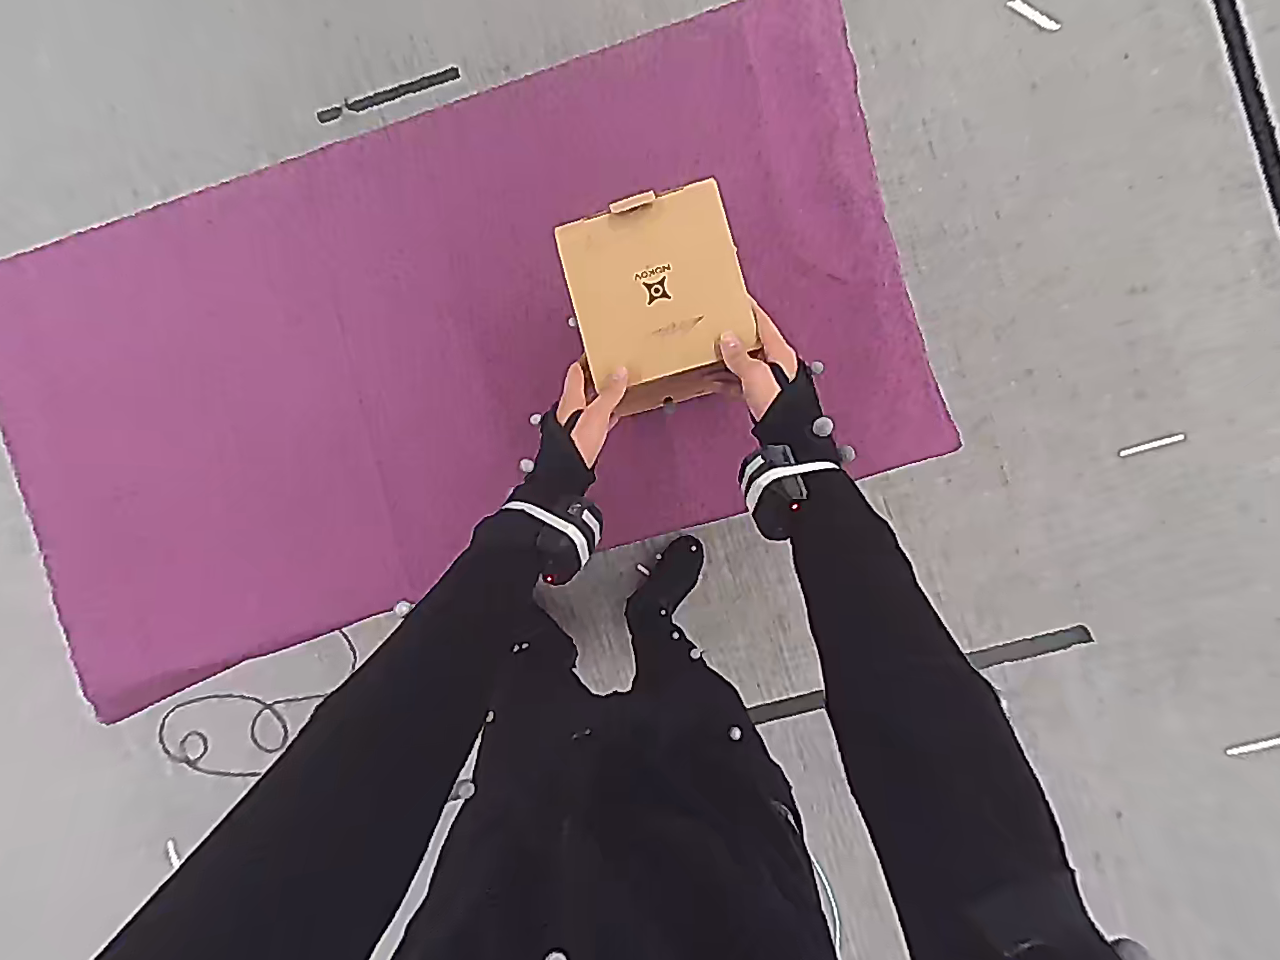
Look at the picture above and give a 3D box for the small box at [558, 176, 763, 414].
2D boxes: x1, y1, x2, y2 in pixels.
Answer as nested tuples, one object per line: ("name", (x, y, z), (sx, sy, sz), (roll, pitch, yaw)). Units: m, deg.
("small box", (0.024, -0.184, 0.591), (0.168, 0.176, 0.179), (-14, 88, 5))
